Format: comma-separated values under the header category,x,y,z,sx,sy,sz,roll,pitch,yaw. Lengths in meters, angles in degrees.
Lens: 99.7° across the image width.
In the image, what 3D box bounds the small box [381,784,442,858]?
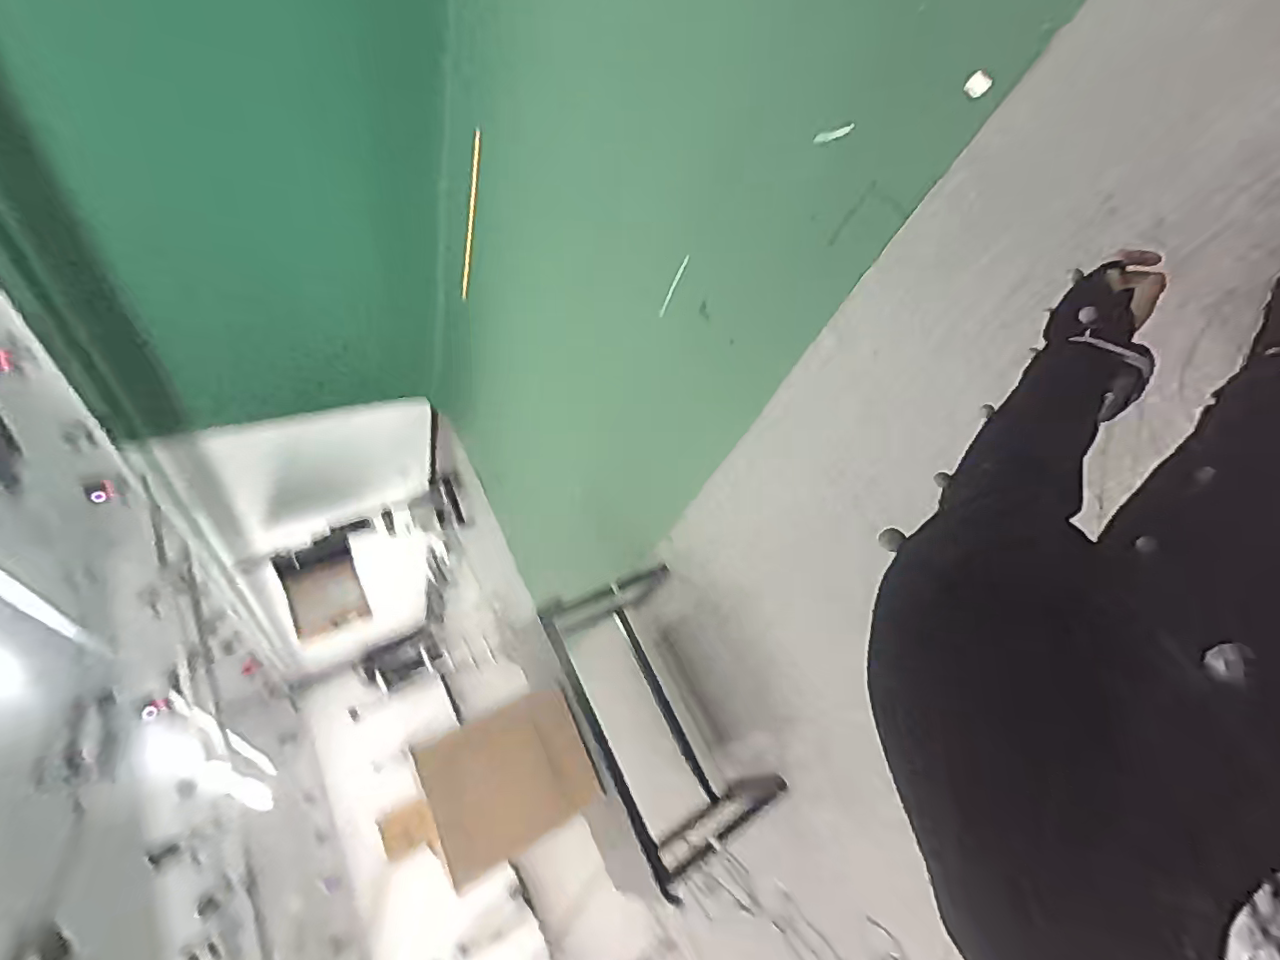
category,x,y,z,sx,sy,sz,roll,pitch,yaw
small box,-0.857,1.271,2.031,0.179,0.176,0.168,-41,69,55
